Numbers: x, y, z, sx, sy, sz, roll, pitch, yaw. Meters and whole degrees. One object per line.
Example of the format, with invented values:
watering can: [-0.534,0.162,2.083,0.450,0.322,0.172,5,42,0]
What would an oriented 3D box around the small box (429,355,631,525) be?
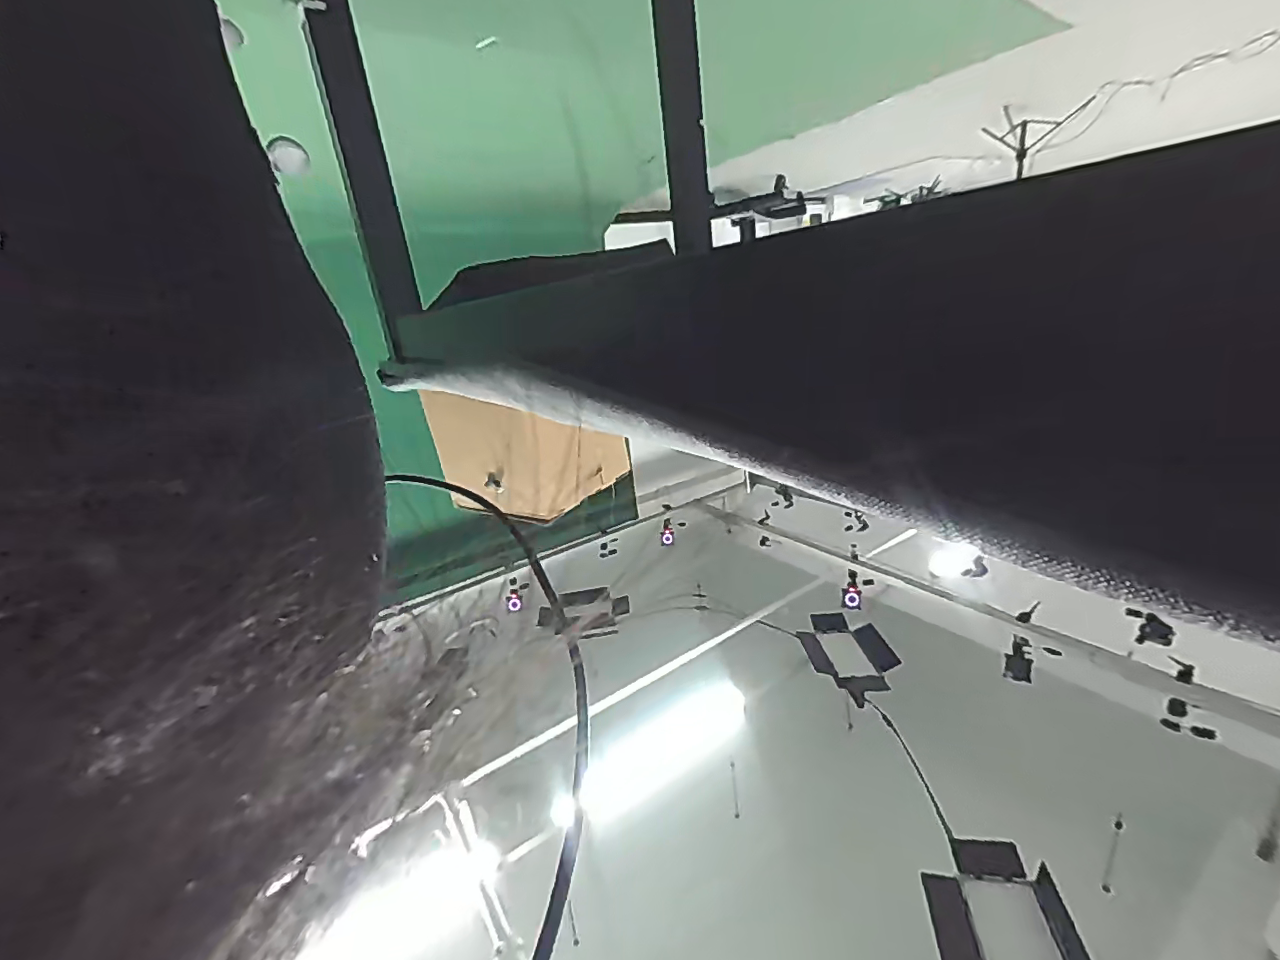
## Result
small box: [-0.139,-0.060,0.690,0.179,0.176,0.168,4,-156,36]
